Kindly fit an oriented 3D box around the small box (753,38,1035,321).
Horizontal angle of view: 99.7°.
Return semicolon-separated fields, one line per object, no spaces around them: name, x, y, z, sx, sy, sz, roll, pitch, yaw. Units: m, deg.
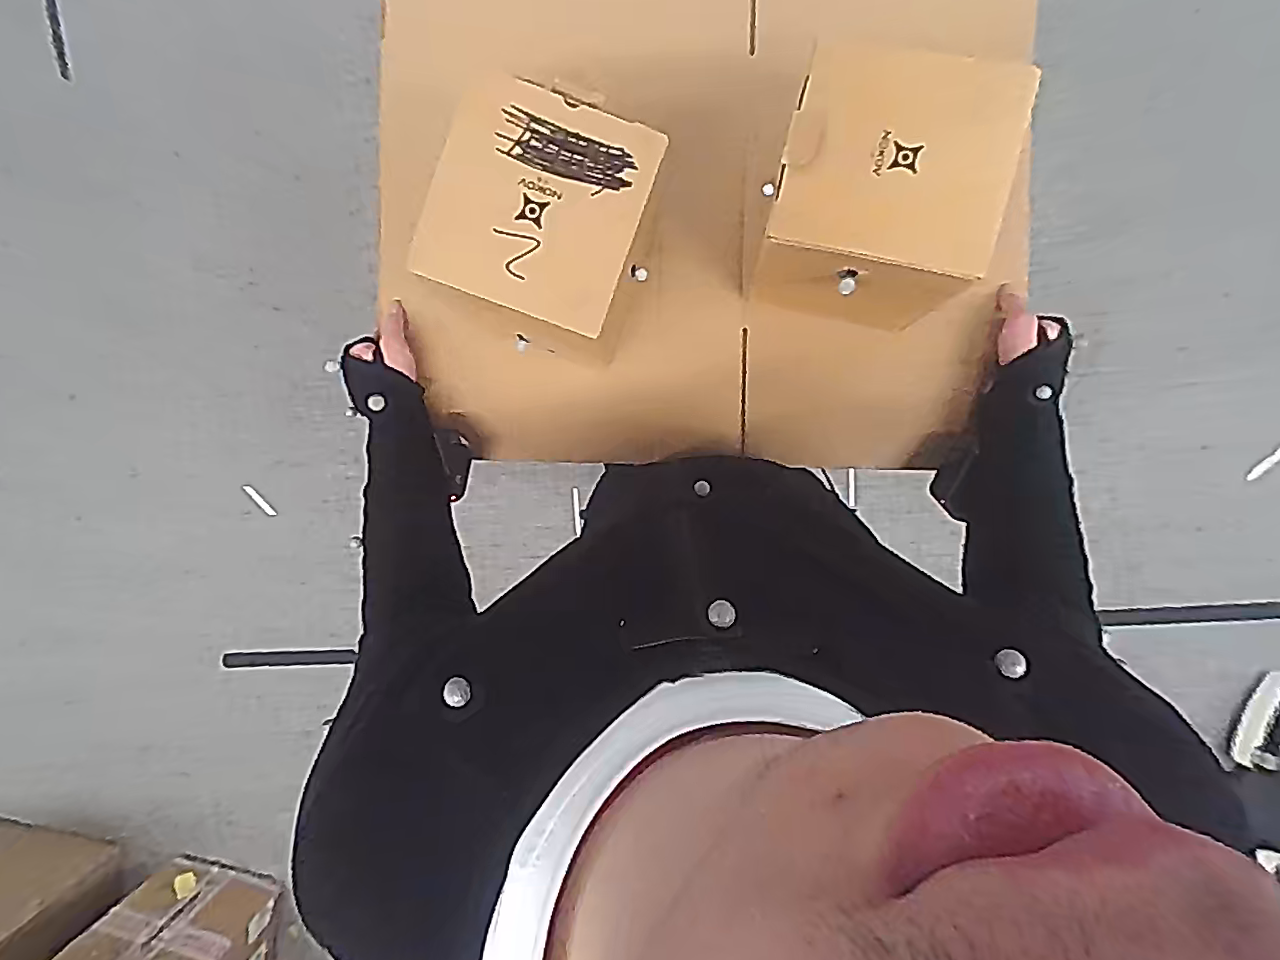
small box;0.217;-0.263;0.516;0.179;0.176;0.168;14;93;7
